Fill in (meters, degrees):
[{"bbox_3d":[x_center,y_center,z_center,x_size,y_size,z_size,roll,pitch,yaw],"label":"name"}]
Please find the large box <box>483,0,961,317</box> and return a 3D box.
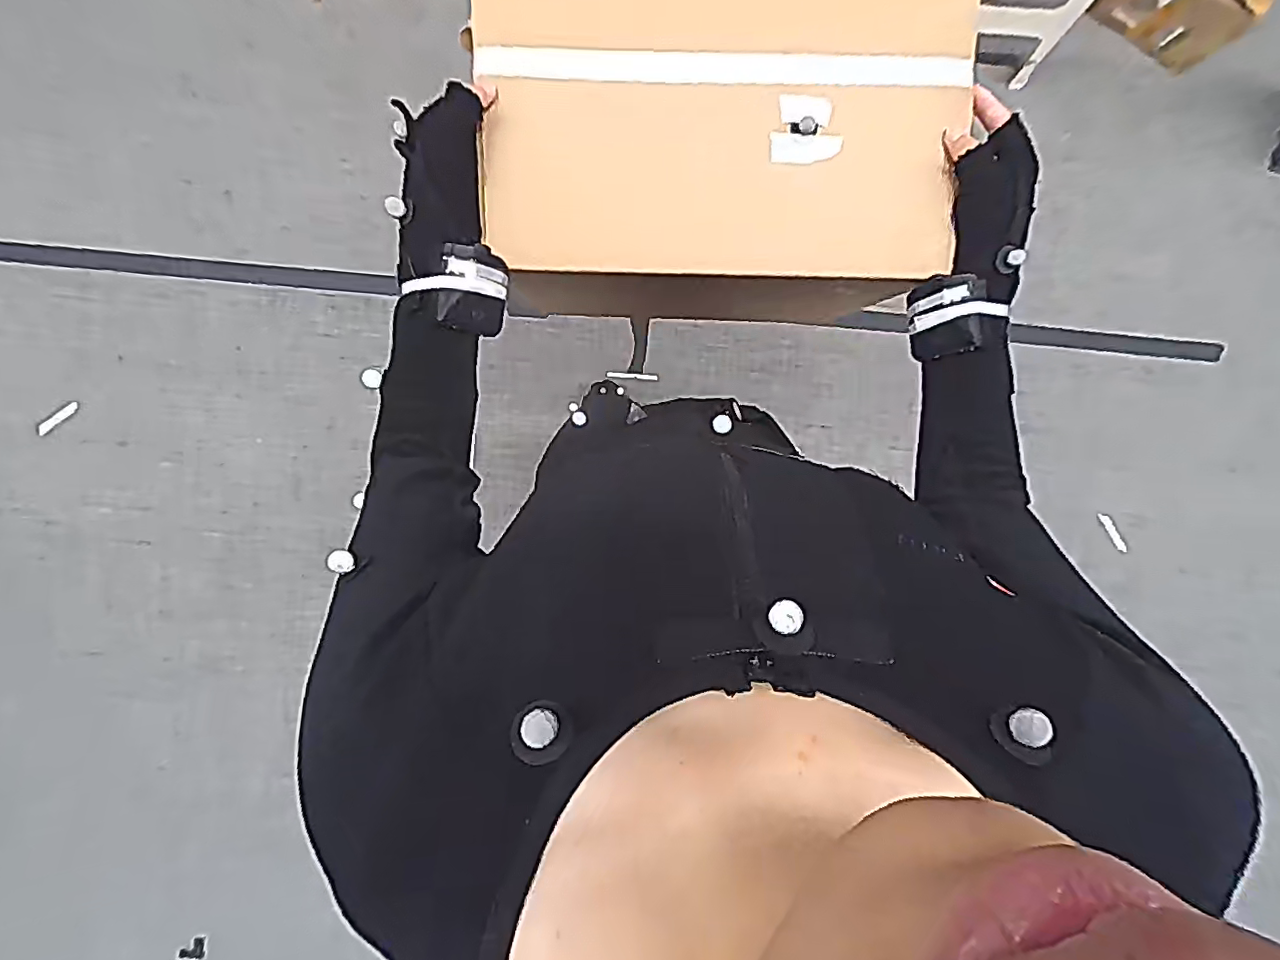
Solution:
[{"bbox_3d":[0.063,-0.363,0.604,0.408,0.320,0.320,1,100,-2],"label":"large box"}]
